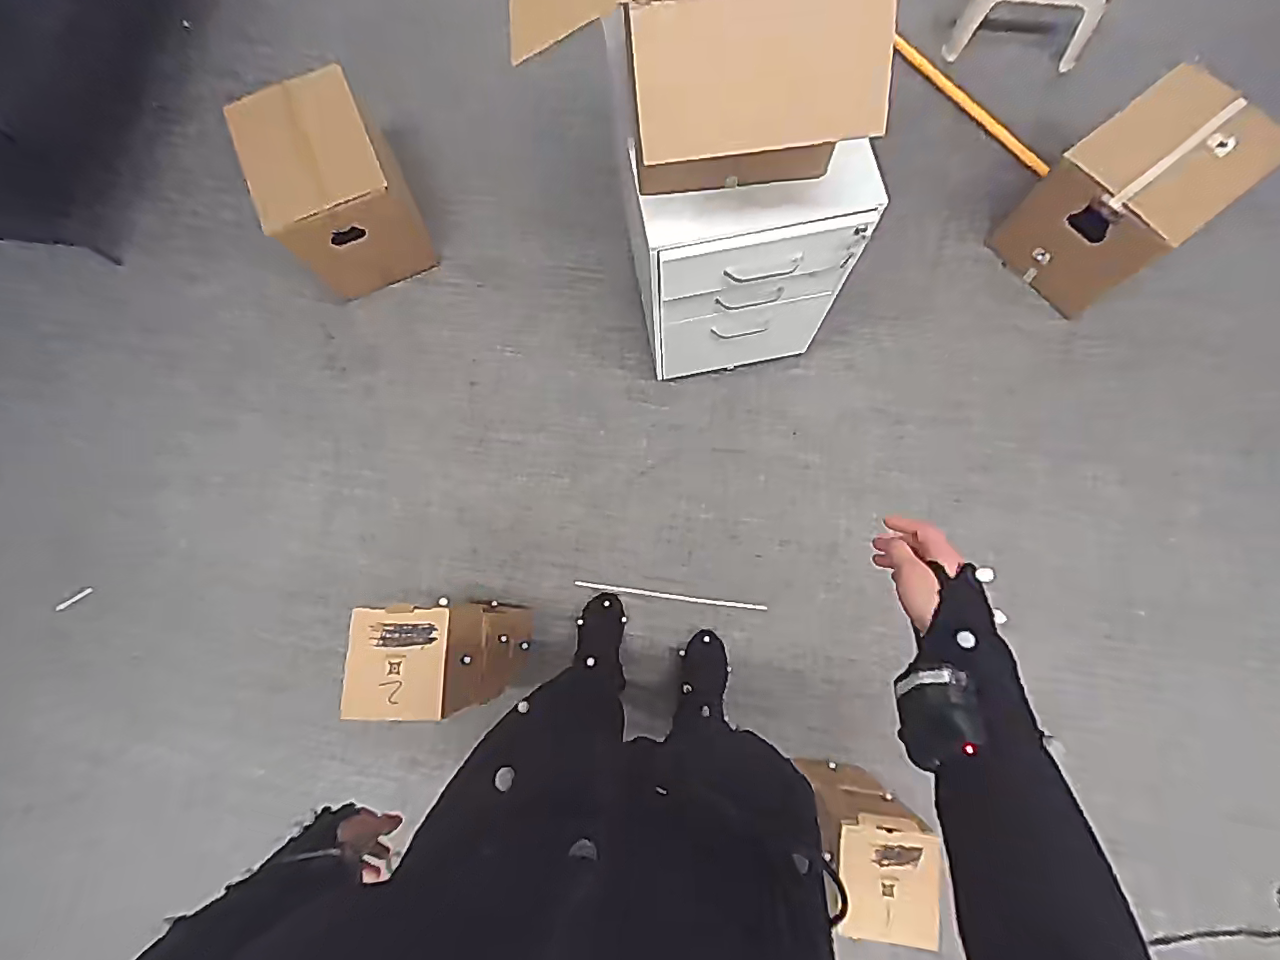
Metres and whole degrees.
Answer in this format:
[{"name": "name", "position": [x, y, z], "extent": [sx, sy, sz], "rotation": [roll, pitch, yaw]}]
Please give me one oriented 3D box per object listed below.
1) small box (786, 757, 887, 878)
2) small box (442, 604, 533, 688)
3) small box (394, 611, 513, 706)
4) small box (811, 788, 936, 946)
[{"name": "small box", "position": [0.411, 0.717, 1.151], "extent": [0.168, 0.176, 0.179], "rotation": [4, 78, 4]}, {"name": "small box", "position": [-0.363, 0.385, 1.277], "extent": [0.179, 0.176, 0.168], "rotation": [5, 77, 4]}, {"name": "small box", "position": [-0.373, 0.360, 1.117], "extent": [0.179, 0.176, 0.168], "rotation": [2, 76, 5]}, {"name": "small box", "position": [0.418, 0.690, 0.989], "extent": [0.168, 0.176, 0.179], "rotation": [5, 80, 5]}]
